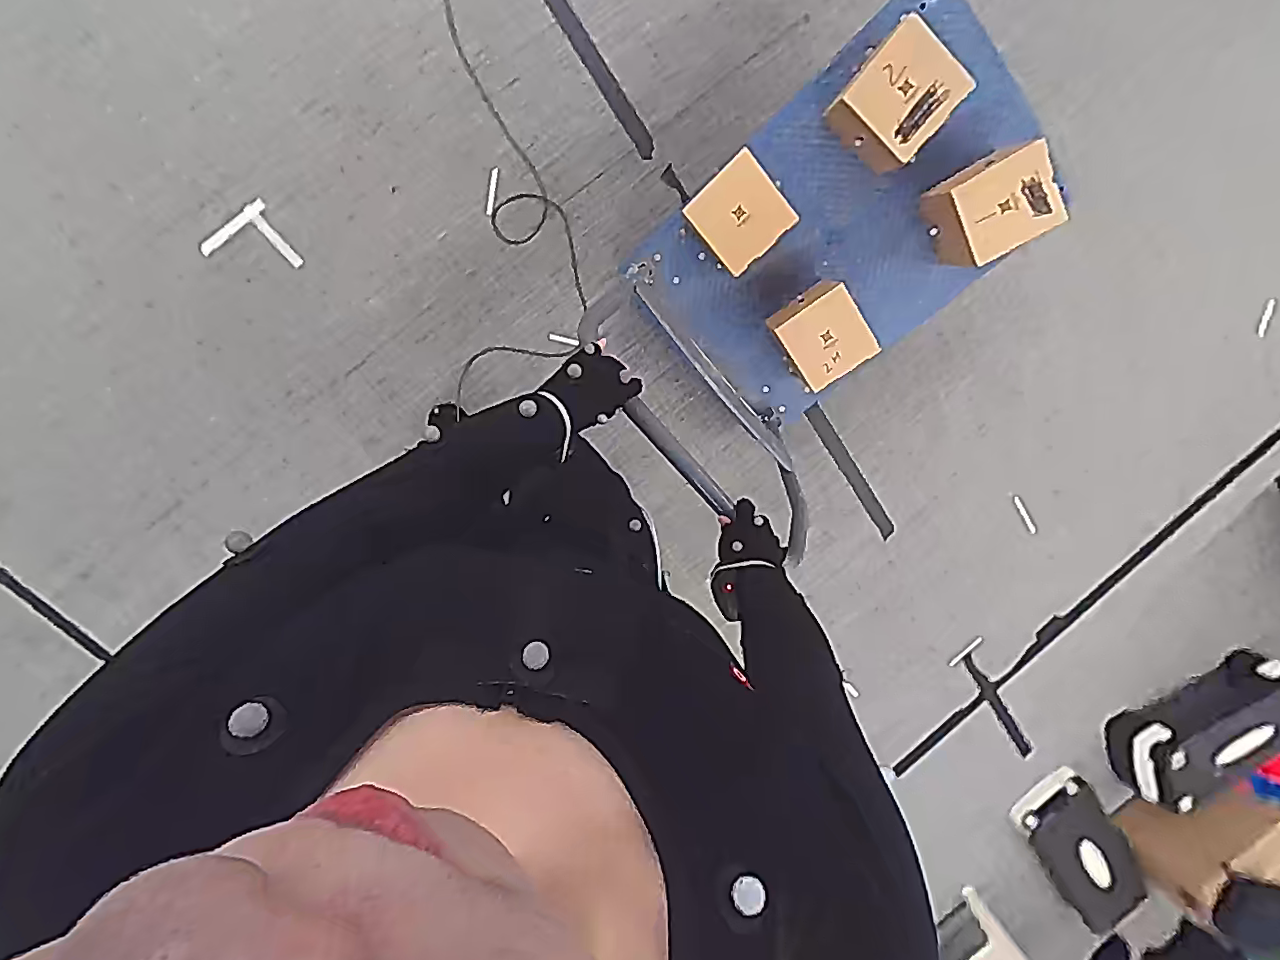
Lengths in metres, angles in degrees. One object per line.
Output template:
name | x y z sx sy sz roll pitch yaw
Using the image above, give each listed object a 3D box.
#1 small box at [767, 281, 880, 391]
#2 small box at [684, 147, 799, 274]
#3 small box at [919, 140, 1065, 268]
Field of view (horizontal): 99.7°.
small box | 0.409 -0.333 1.237 0.168 0.176 0.179 -33 107 16
small box | 0.206 -0.564 1.155 0.168 0.176 0.179 -40 106 17
small box | 0.720 -0.562 1.120 0.179 0.176 0.168 -27 108 15
